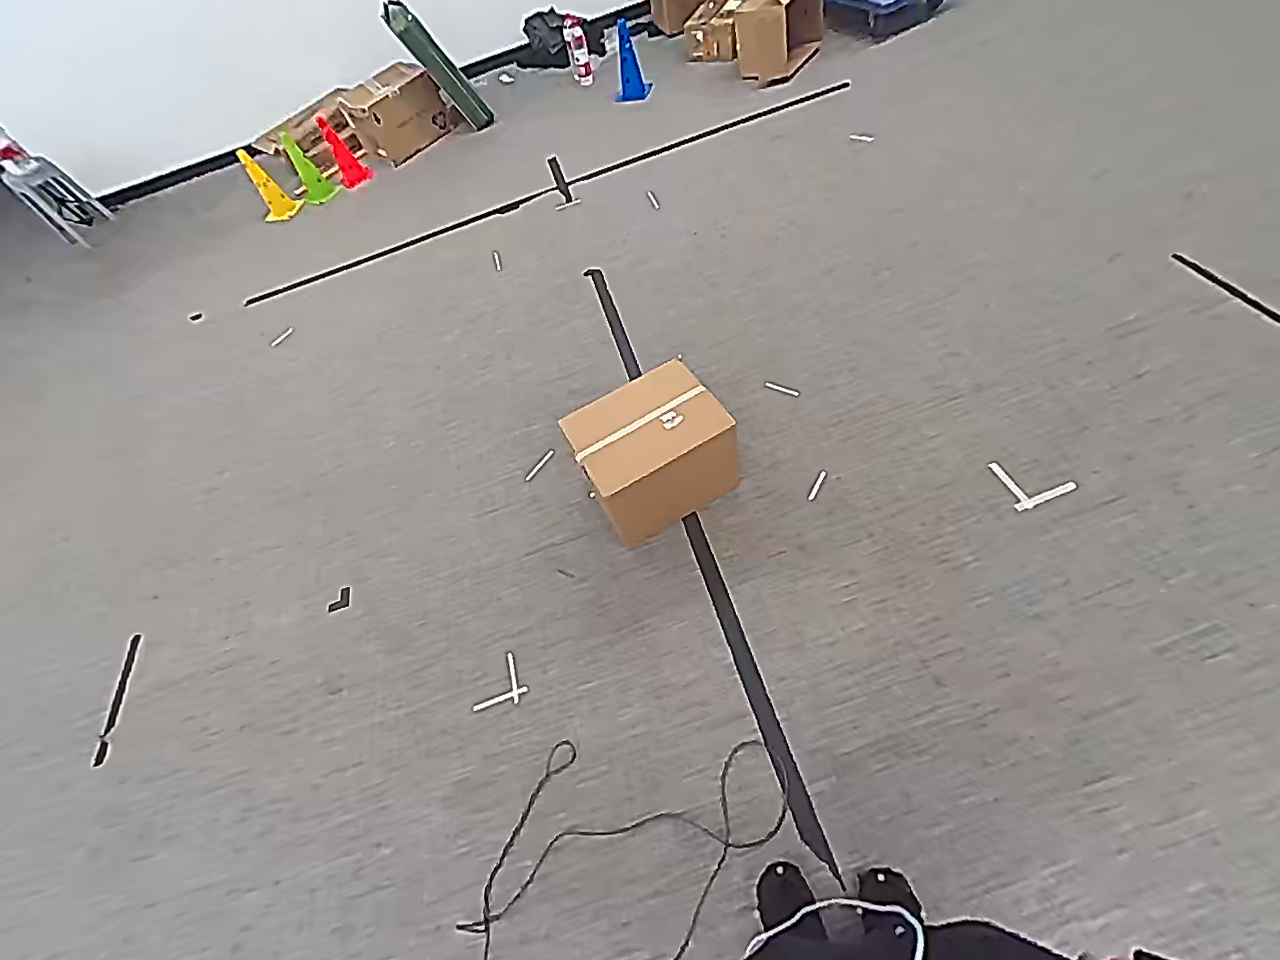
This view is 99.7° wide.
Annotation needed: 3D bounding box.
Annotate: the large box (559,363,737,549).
[{"bbox_3d":[0.034,-0.066,1.601,0.408,0.320,0.320,-29,57,-8],"label":"large box"}]
